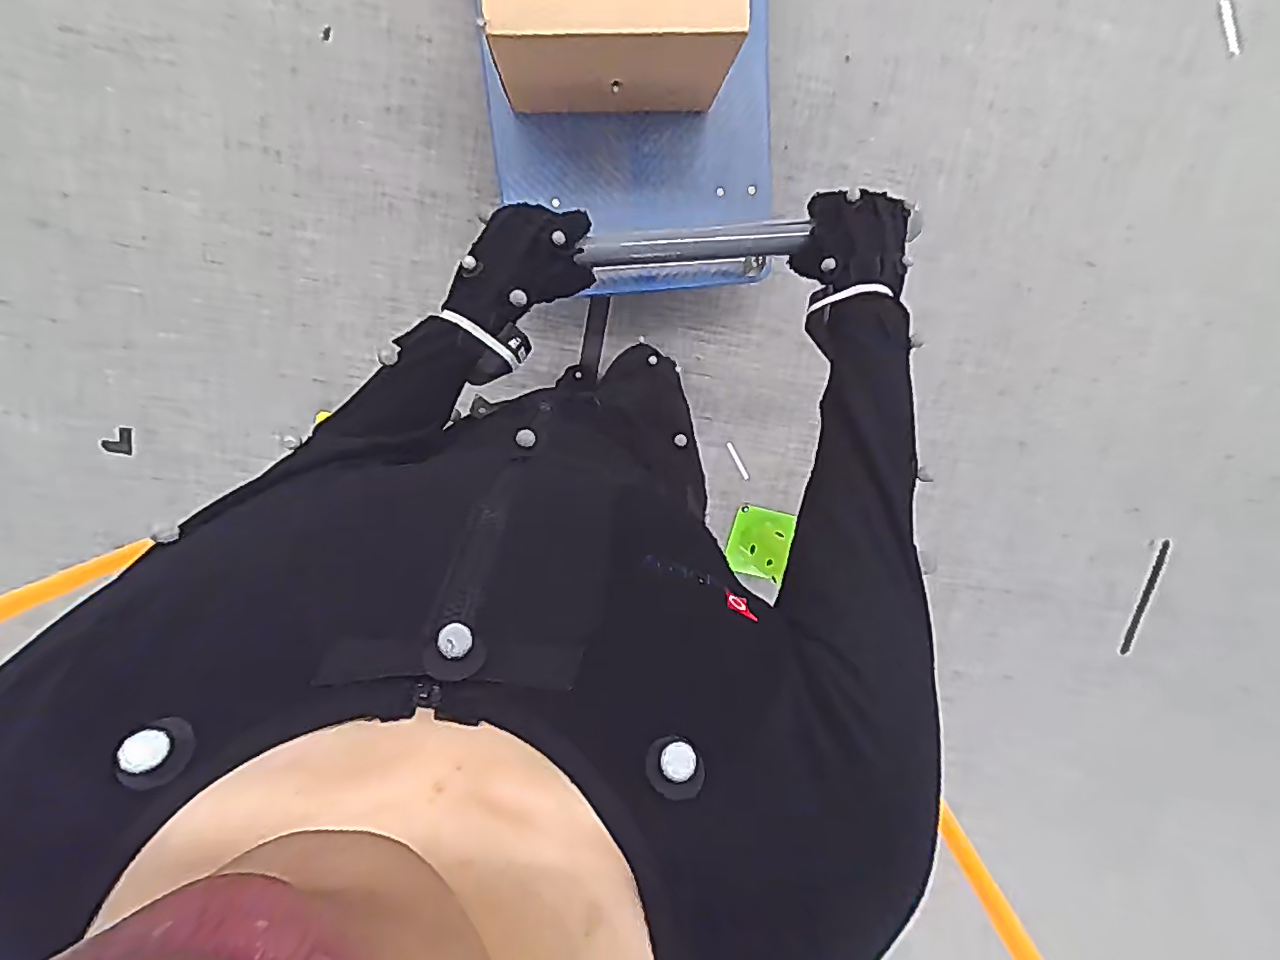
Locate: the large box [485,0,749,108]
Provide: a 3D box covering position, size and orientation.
[{"bbox_3d":[-0.046,-0.868,0.922,0.408,0.320,0.320,-3,106,-3],"label":"large box"}]

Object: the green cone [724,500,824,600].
[{"bbox_3d":[0.371,0.209,1.383,0.202,0.368,0.200,13,103,-9],"label":"green cone"}]
